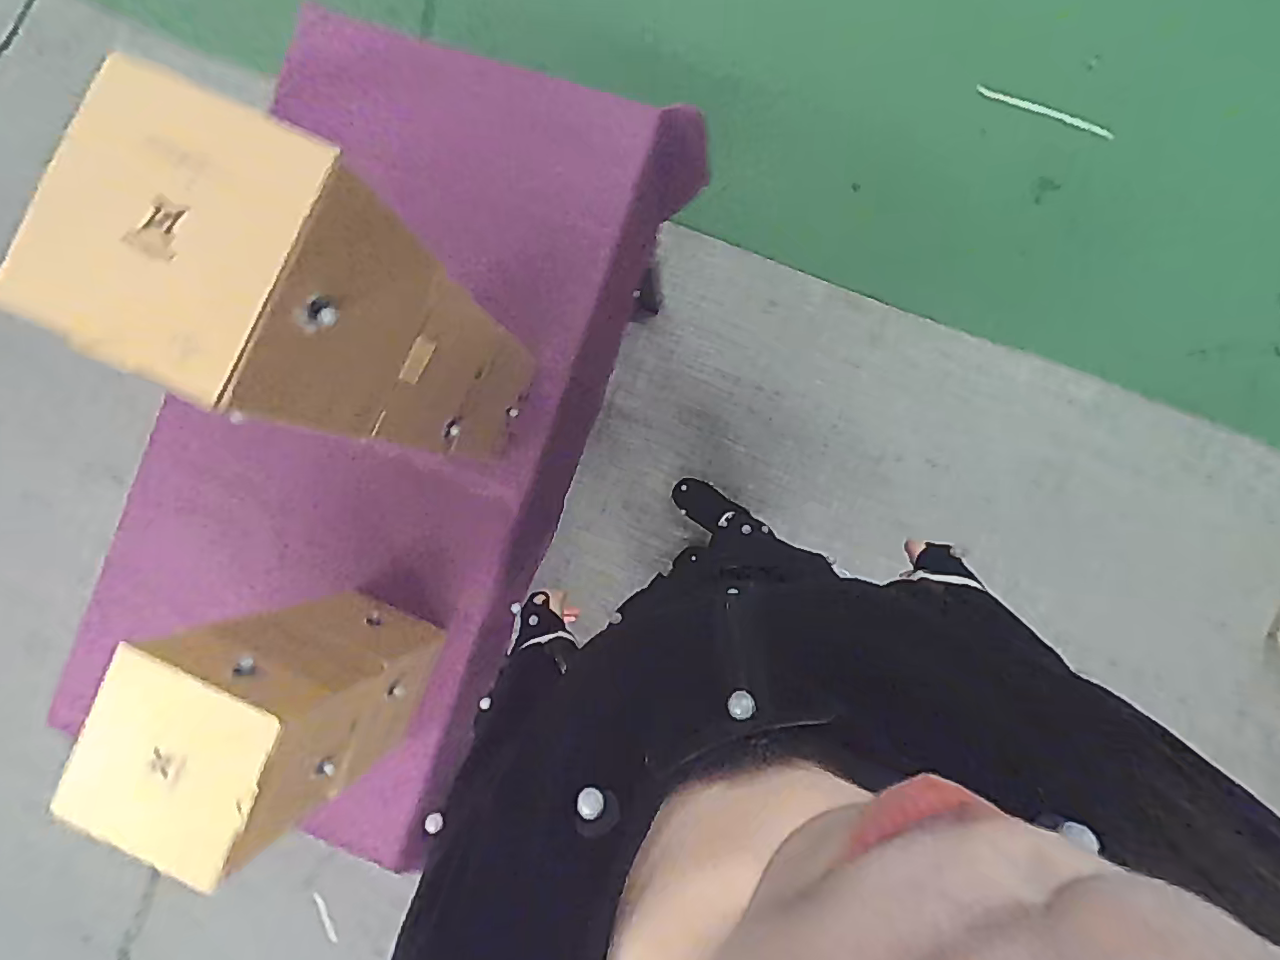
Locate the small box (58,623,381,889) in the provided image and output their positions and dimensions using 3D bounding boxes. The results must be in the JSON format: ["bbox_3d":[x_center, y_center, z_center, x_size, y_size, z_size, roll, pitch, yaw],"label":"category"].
[{"bbox_3d":[-0.420,0.264,0.571,0.179,0.176,0.168,22,89,5],"label":"small box"}]

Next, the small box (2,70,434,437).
[{"bbox_3d":[-0.291,-0.146,0.416,0.168,0.176,0.179,25,89,4],"label":"small box"}]

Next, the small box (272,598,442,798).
[{"bbox_3d":[-0.395,0.275,0.732,0.168,0.176,0.179,21,89,7],"label":"small box"}]

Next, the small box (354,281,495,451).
[{"bbox_3d":[-0.283,-0.138,0.579,0.179,0.176,0.168,24,89,7],"label":"small box"}]
